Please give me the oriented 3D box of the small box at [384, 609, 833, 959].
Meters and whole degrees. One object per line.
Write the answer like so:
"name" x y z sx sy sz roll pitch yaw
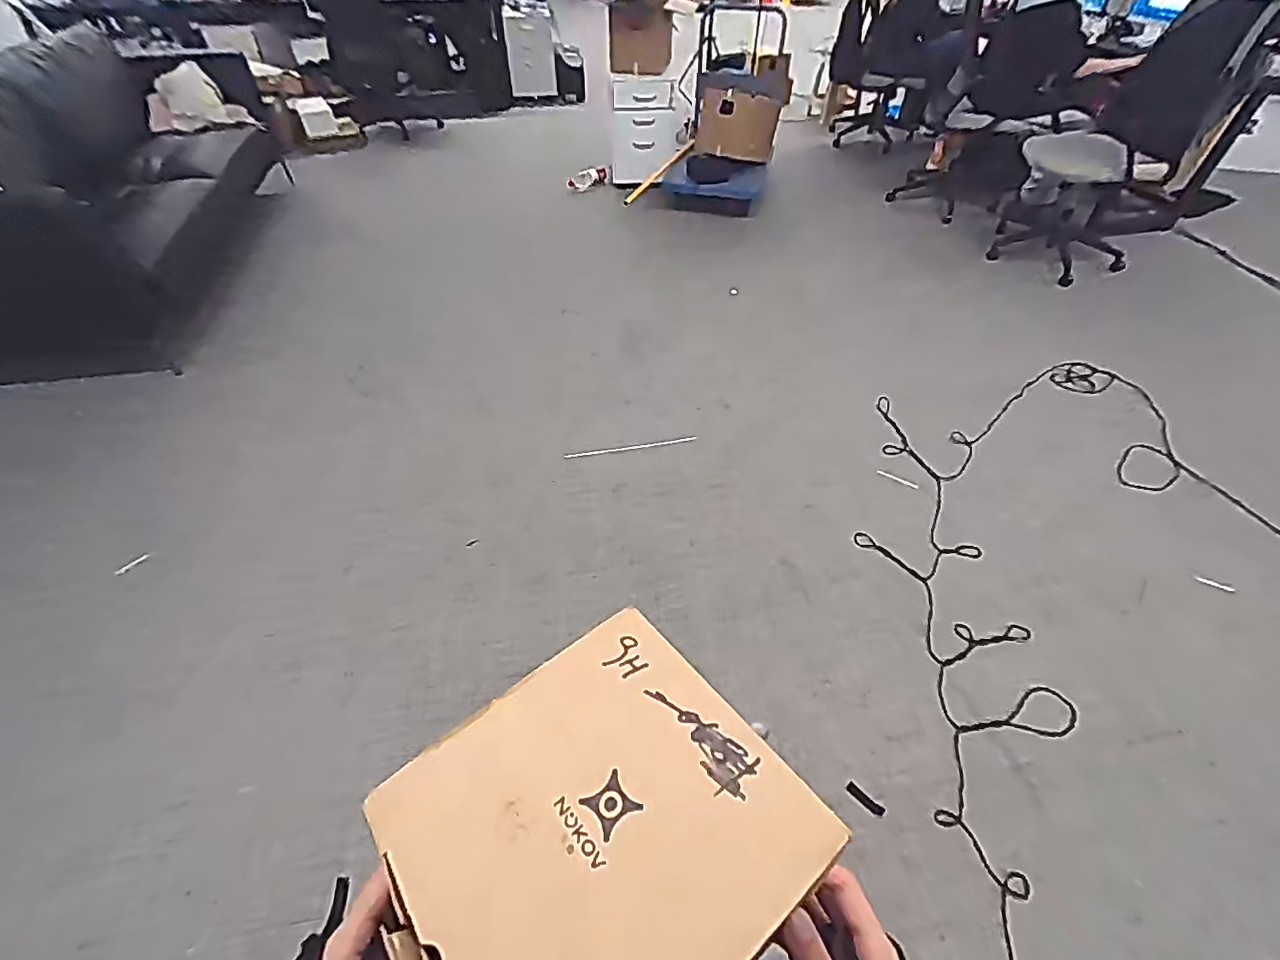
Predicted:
"small box" -0.014 0.222 0.327 0.179 0.176 0.168 -32 49 -25
